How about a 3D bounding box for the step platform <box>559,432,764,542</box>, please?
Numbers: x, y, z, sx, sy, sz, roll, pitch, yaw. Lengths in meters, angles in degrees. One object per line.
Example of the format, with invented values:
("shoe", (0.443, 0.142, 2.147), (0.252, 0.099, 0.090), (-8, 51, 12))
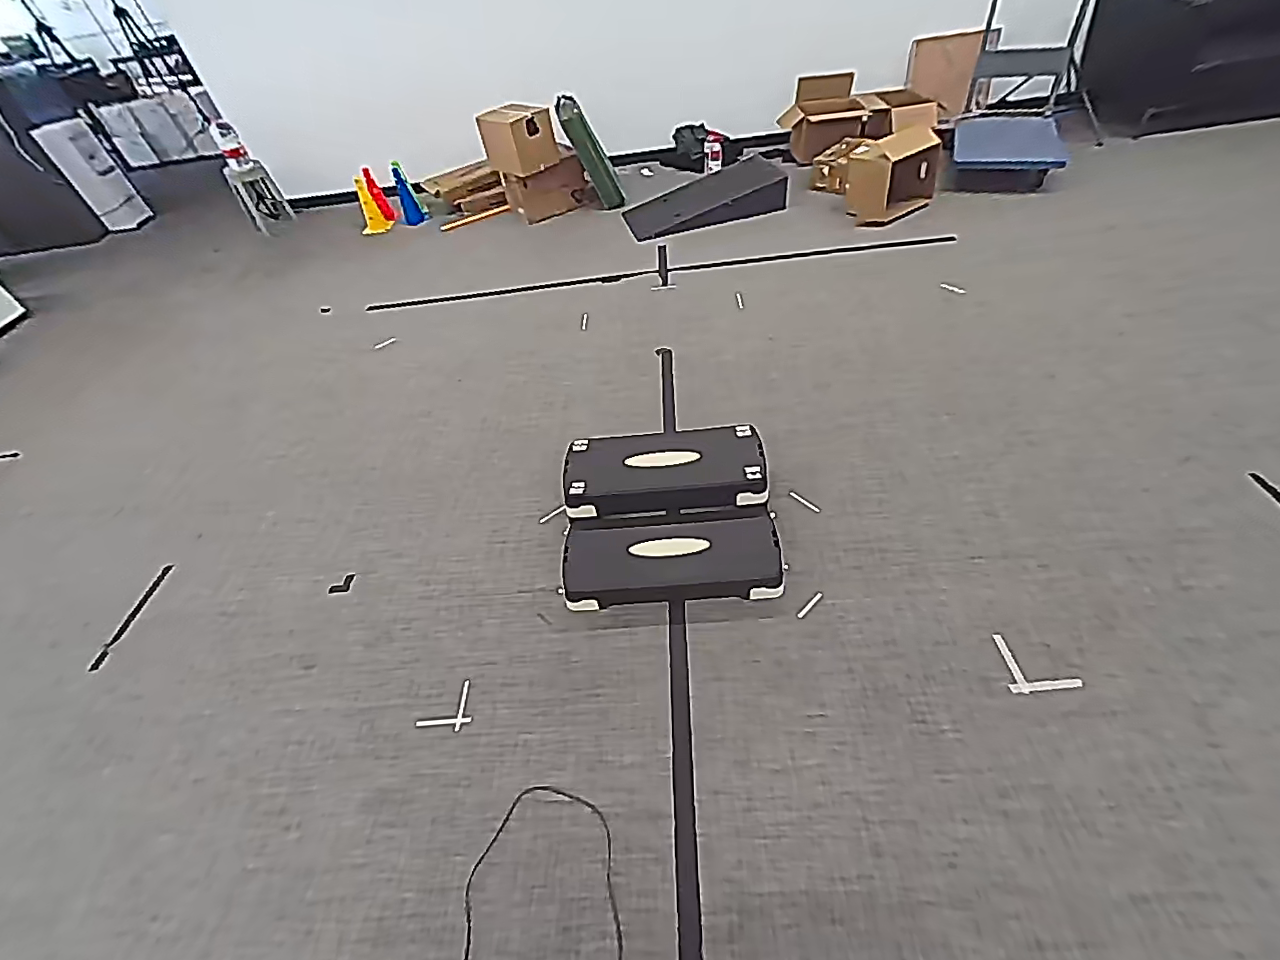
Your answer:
("step platform", (0.070, 0.018, 1.834), (0.684, 0.204, 0.286), (-5, 47, 3))
